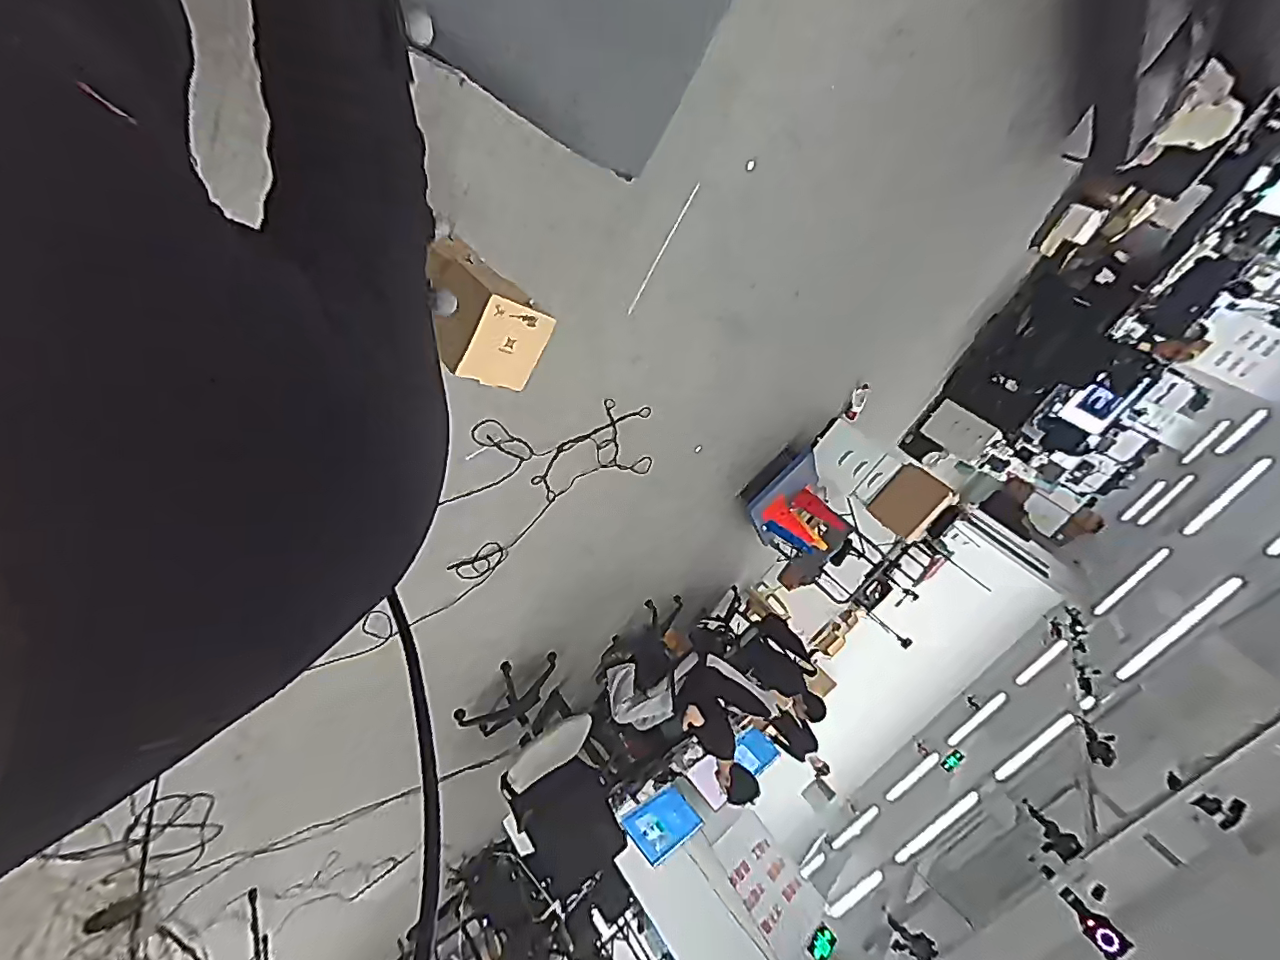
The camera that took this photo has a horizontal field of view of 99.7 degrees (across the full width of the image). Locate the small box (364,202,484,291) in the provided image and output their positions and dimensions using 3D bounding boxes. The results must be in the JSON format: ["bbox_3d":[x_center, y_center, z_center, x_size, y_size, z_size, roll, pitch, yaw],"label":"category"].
[{"bbox_3d":[-0.509,-0.518,1.268,0.179,0.176,0.168,7,122,-54],"label":"small box"}]

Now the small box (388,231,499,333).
[{"bbox_3d":[-0.417,-0.416,1.178,0.179,0.176,0.168,2,126,-53],"label":"small box"}]

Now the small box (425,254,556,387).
[{"bbox_3d":[-0.309,-0.320,1.098,0.168,0.176,0.179,5,124,-54],"label":"small box"}]
